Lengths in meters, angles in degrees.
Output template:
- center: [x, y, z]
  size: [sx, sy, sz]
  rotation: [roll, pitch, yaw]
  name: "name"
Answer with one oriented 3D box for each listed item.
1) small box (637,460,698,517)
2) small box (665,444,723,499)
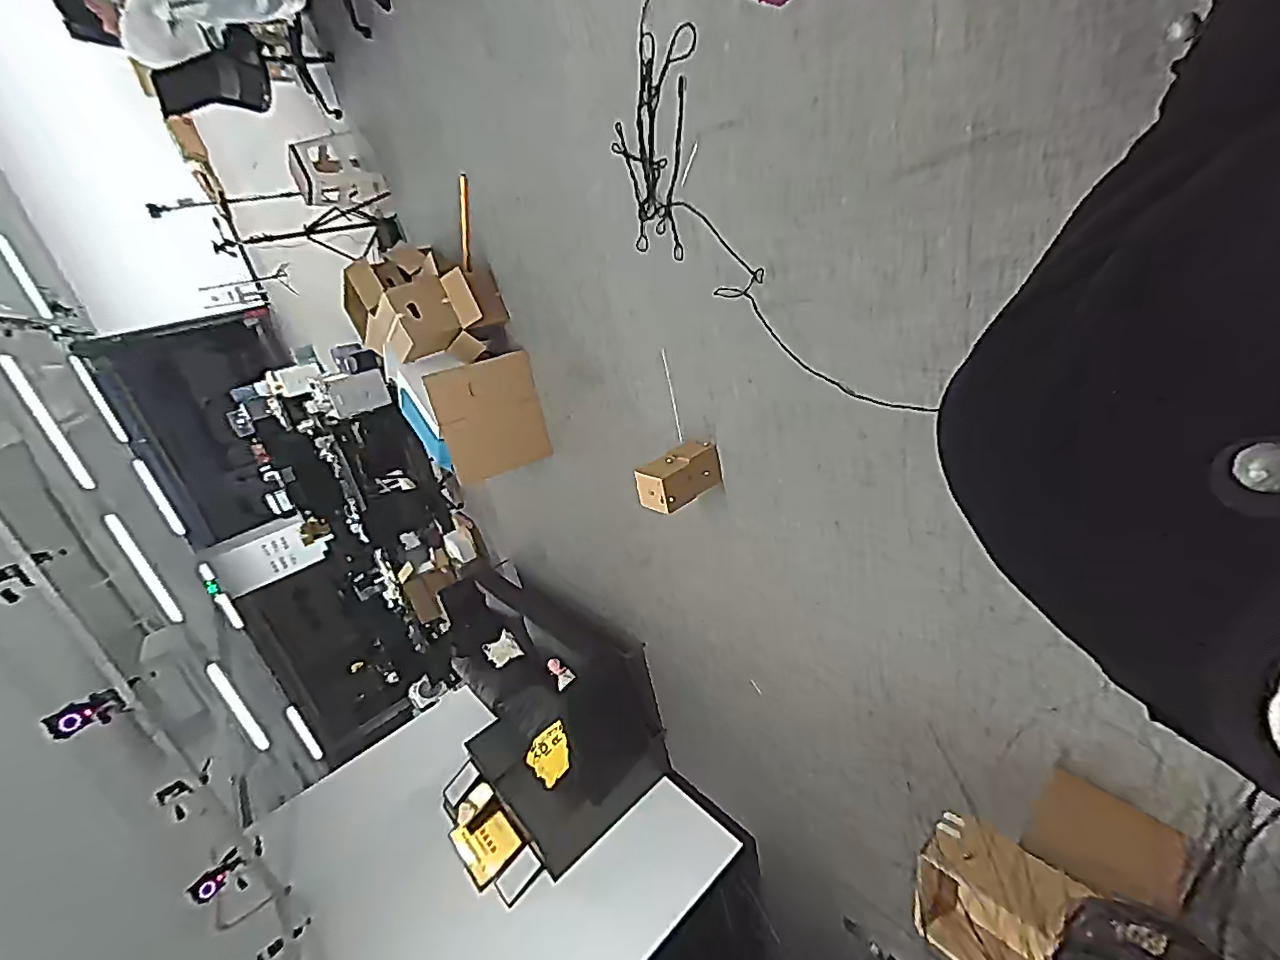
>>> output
- center: [0.117, 0.029, 2.248]
  size: [0.179, 0.176, 0.168]
  rotation: [18, 128, 49]
  name: "small box"
- center: [0.237, -0.042, 2.333]
  size: [0.168, 0.176, 0.179]
  rotation: [16, 127, 50]
  name: "small box"
